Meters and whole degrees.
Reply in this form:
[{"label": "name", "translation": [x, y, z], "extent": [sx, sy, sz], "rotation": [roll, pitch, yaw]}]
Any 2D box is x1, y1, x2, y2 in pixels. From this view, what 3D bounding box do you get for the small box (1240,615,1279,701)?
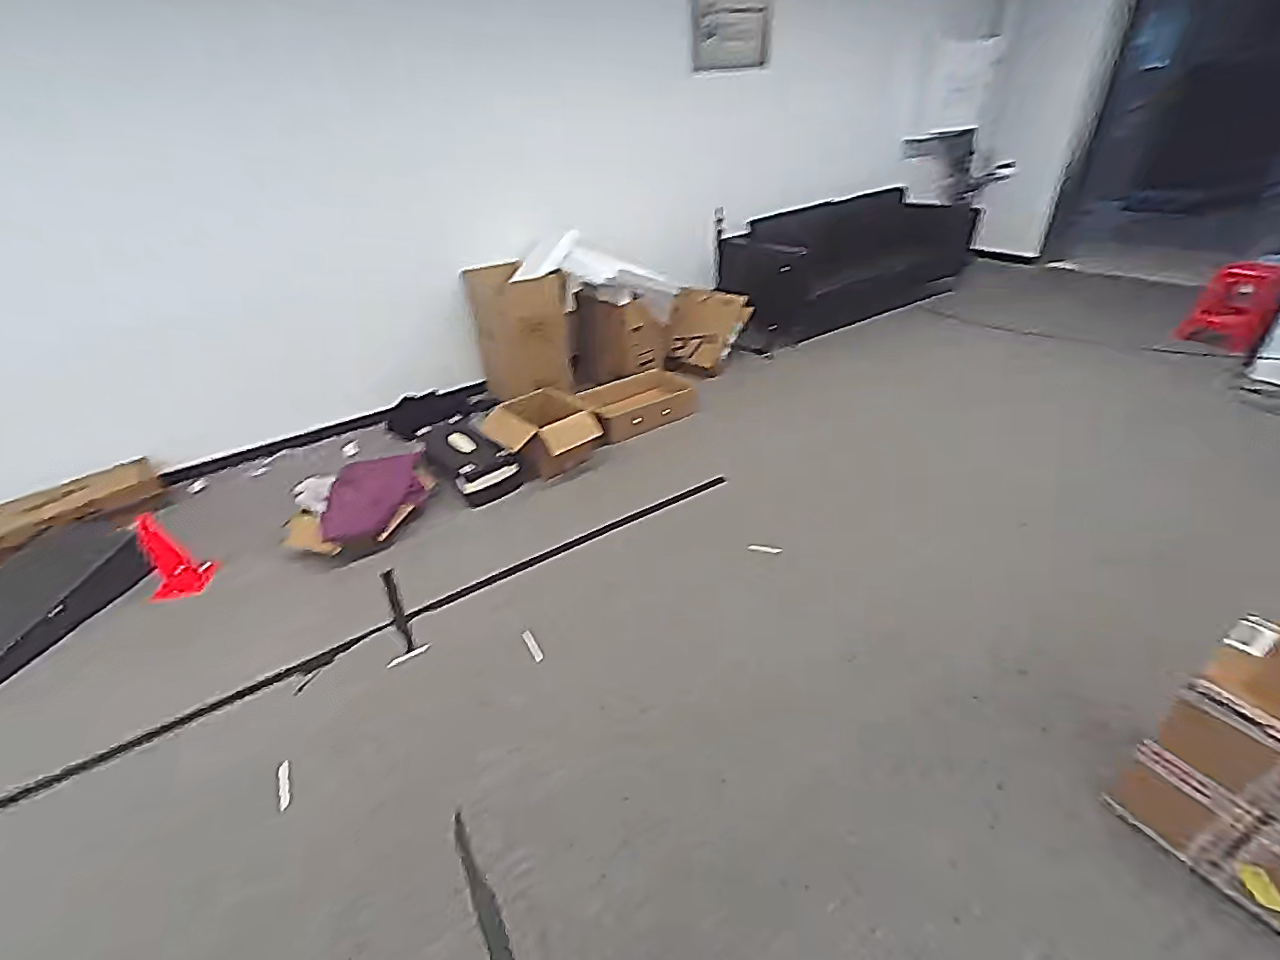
[{"label": "small box", "translation": [1.325, 0.340, 1.040], "extent": [0.179, 0.176, 0.168], "rotation": [-27, 38, -24]}]
